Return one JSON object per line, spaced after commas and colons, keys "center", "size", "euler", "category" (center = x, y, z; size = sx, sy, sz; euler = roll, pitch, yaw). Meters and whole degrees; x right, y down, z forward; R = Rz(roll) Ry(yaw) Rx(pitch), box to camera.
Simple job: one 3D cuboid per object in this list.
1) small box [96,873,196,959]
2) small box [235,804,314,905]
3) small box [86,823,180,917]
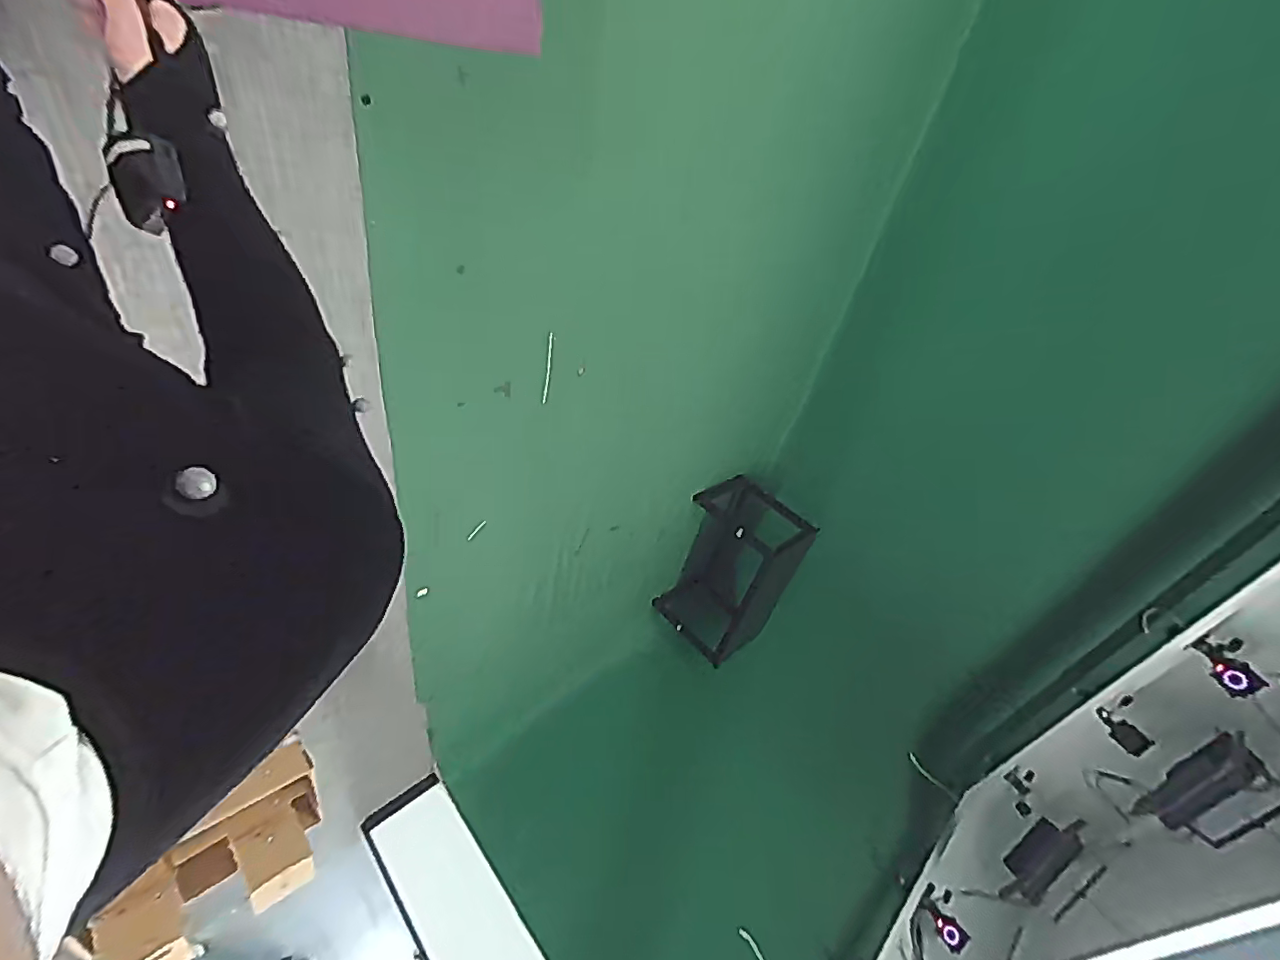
{"center": [-1.357, 1.234, 1.486], "size": [0.168, 0.176, 0.179], "euler": [-17, 137, -42], "category": "small box"}
{"center": [-1.138, 1.162, 1.688], "size": [0.168, 0.176, 0.179], "euler": [-17, 137, -43], "category": "small box"}
{"center": [-1.468, 1.147, 1.572], "size": [0.168, 0.176, 0.179], "euler": [-18, 137, -41], "category": "small box"}
